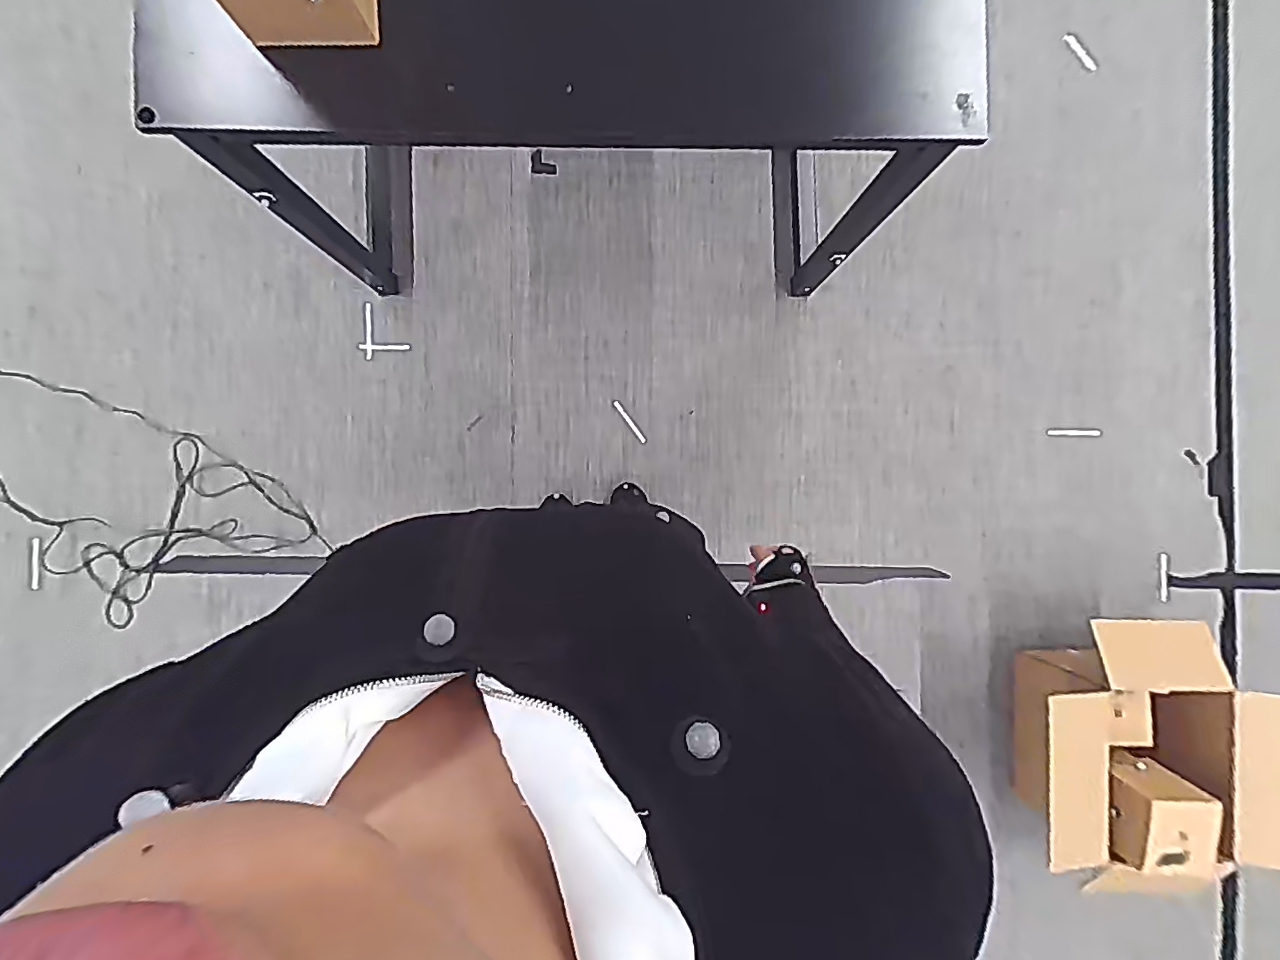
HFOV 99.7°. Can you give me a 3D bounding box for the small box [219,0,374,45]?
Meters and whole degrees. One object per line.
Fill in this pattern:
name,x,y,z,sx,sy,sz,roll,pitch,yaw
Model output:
small box,-0.453,-0.691,0.678,0.179,0.176,0.168,-3,89,-2
